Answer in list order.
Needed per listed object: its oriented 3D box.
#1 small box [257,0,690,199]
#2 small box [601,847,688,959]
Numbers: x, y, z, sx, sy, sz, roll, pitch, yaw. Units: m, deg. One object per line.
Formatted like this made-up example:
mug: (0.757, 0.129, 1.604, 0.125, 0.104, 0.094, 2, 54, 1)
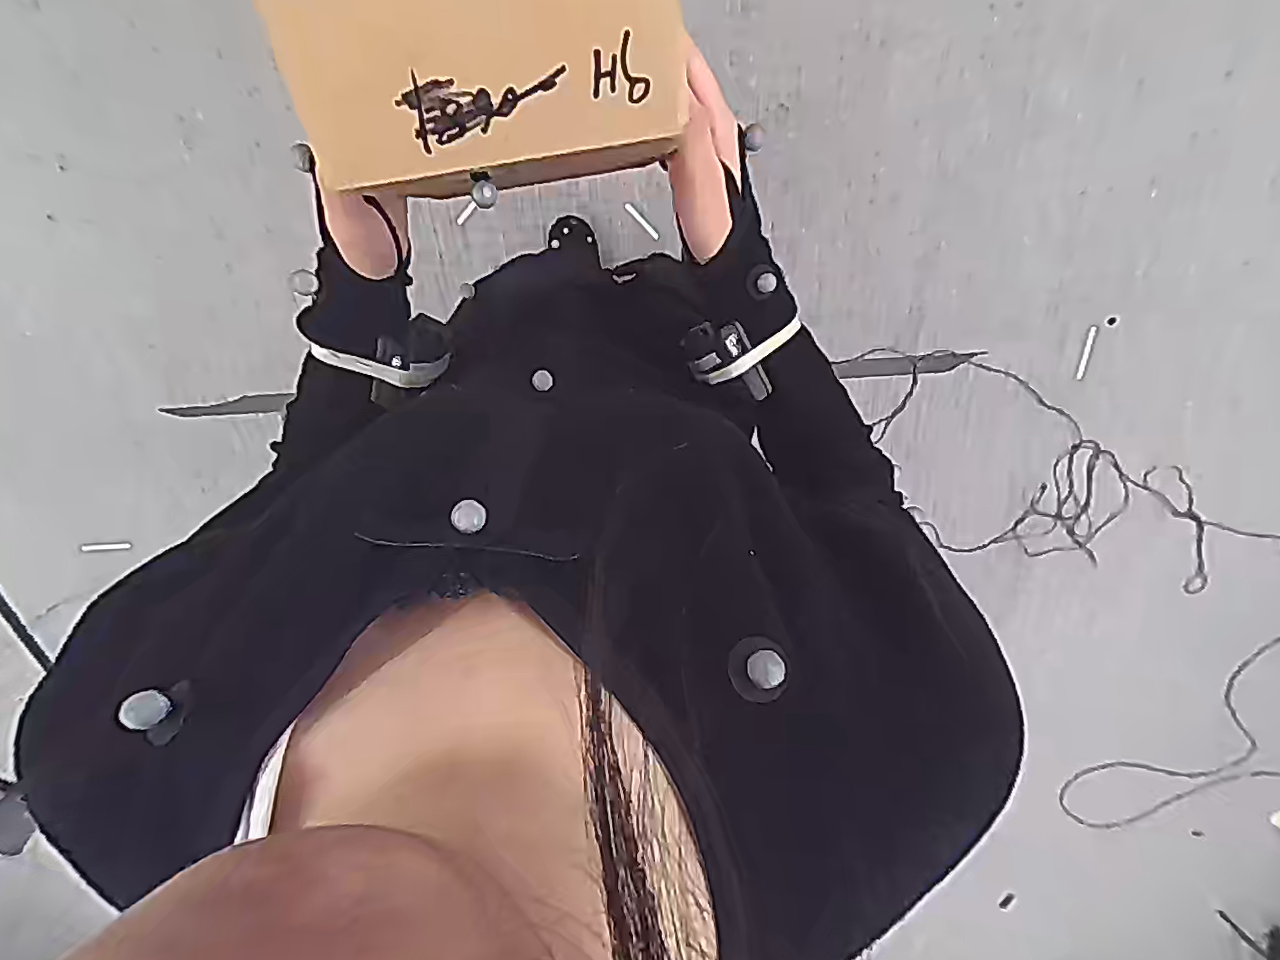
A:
small box: (-0.074, -0.250, 0.269, 0.168, 0.176, 0.179, -8, 116, 1)
small box: (0.011, 0.889, 1.108, 0.168, 0.176, 0.179, -2, 115, 0)
